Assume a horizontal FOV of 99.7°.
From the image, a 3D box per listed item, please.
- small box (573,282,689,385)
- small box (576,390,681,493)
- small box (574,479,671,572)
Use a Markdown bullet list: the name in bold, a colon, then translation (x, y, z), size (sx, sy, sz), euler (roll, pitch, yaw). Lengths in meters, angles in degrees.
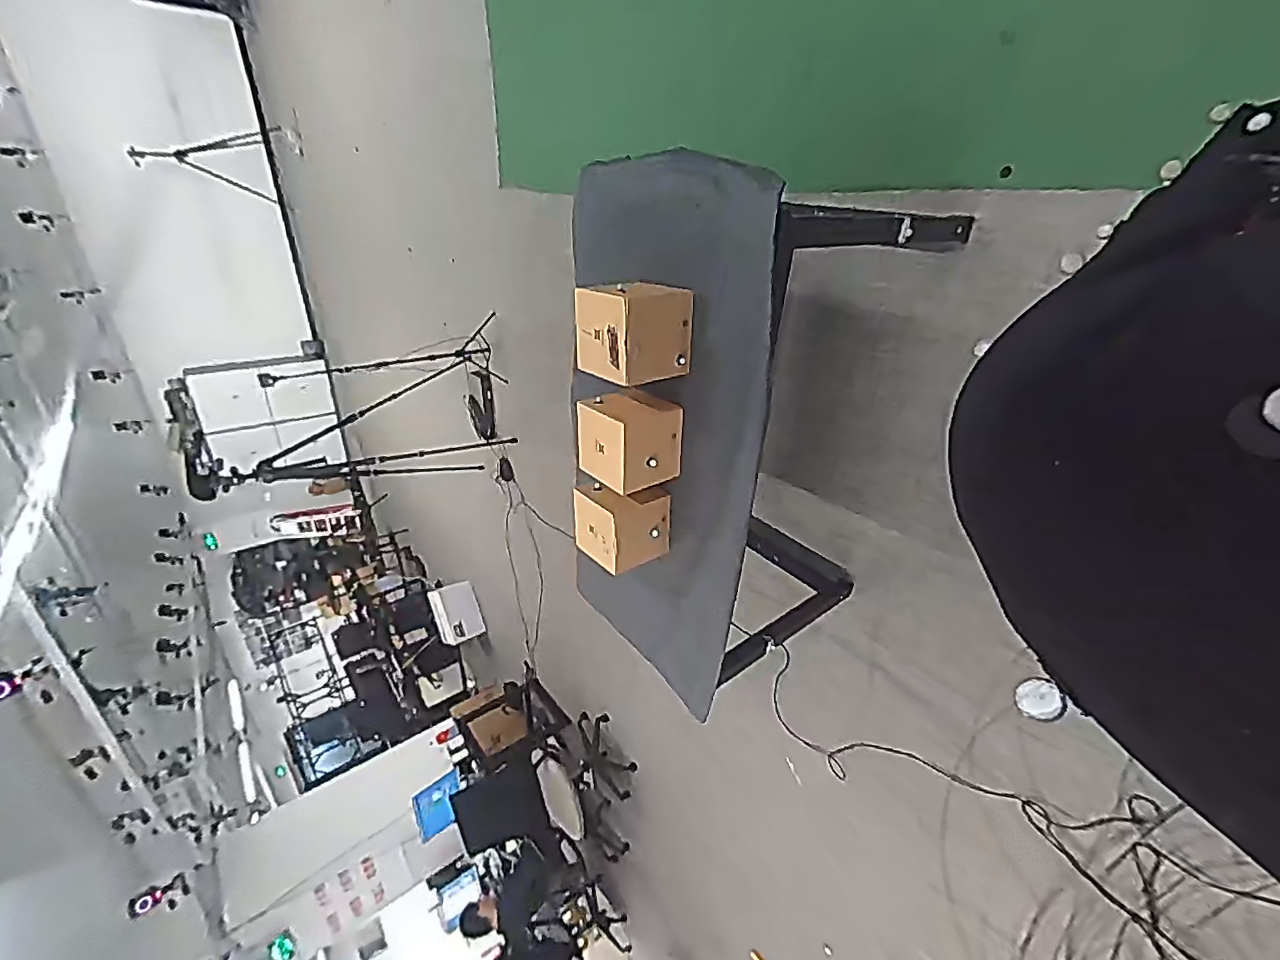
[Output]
- **small box**: translation (-0.016, -0.306, 1.097), size (0.179, 0.176, 0.168), euler (30, 129, 45)
- **small box**: translation (-0.023, -0.095, 1.213), size (0.179, 0.176, 0.168), euler (30, 129, 45)
- **small box**: translation (-0.046, 0.095, 1.331), size (0.179, 0.176, 0.168), euler (29, 128, 45)
